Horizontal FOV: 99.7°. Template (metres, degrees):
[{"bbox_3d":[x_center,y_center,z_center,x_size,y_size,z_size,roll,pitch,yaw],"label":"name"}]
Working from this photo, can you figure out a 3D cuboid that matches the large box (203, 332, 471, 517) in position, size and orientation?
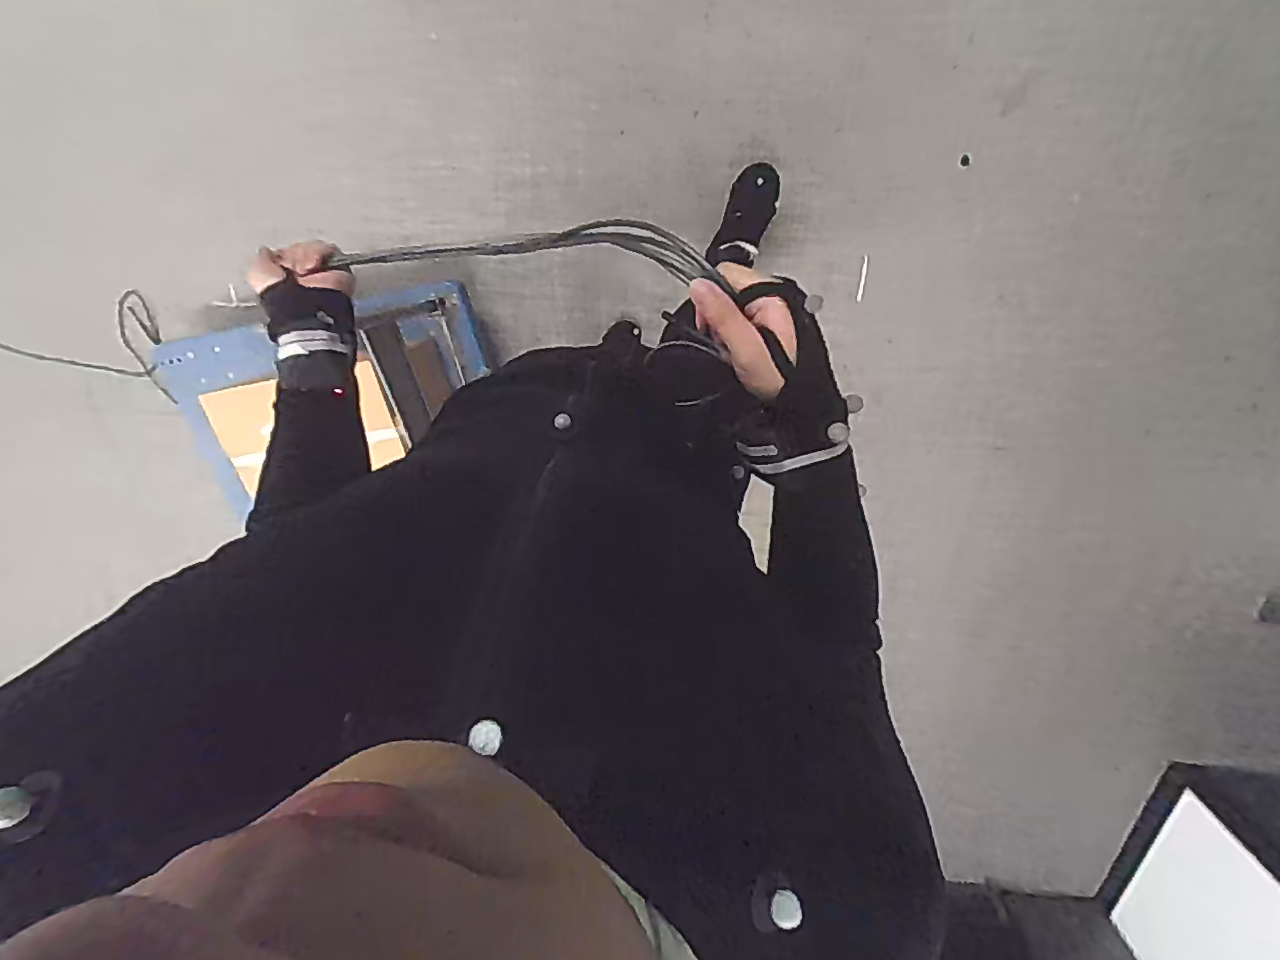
[{"bbox_3d":[-0.688,-0.143,1.301,0.408,0.320,0.320,-9,112,9],"label":"large box"}]
